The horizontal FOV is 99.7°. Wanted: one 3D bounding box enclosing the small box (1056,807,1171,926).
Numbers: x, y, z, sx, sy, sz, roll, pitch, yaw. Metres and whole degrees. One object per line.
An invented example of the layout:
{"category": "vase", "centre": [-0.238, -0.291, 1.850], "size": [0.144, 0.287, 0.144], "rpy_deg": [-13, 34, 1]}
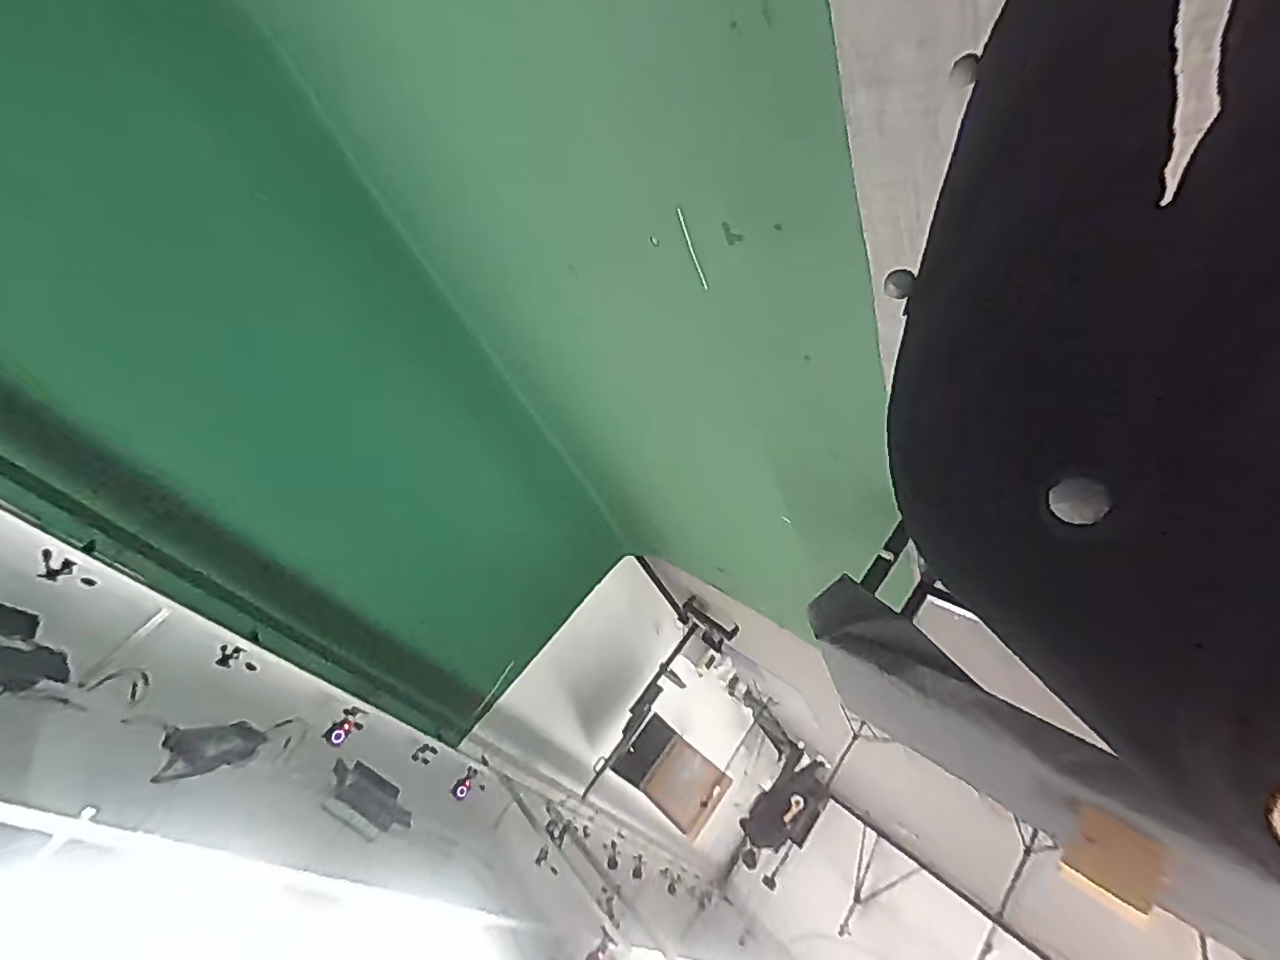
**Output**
{"category": "small box", "centre": [1.185, 0.960, 1.362], "size": [0.179, 0.176, 0.168], "rpy_deg": [20, 153, 47]}
